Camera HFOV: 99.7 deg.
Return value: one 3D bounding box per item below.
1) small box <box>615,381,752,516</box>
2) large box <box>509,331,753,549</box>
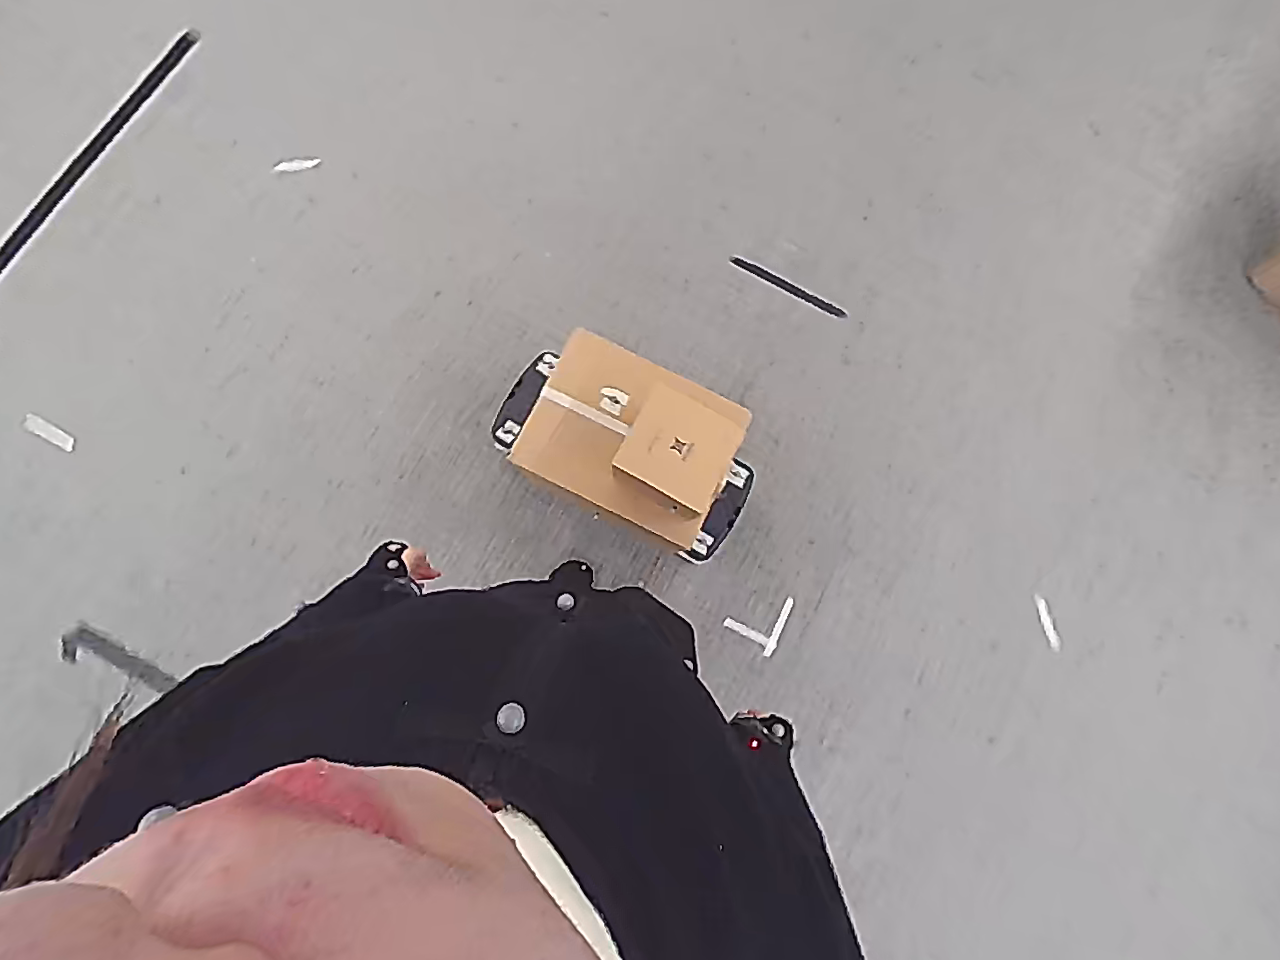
[{"bbox_3d":[0.070,-0.045,0.968,0.179,0.176,0.168,30,81,2],"label":"small box"},{"bbox_3d":[-0.017,-0.064,1.214,0.408,0.320,0.320,26,80,2],"label":"large box"}]
